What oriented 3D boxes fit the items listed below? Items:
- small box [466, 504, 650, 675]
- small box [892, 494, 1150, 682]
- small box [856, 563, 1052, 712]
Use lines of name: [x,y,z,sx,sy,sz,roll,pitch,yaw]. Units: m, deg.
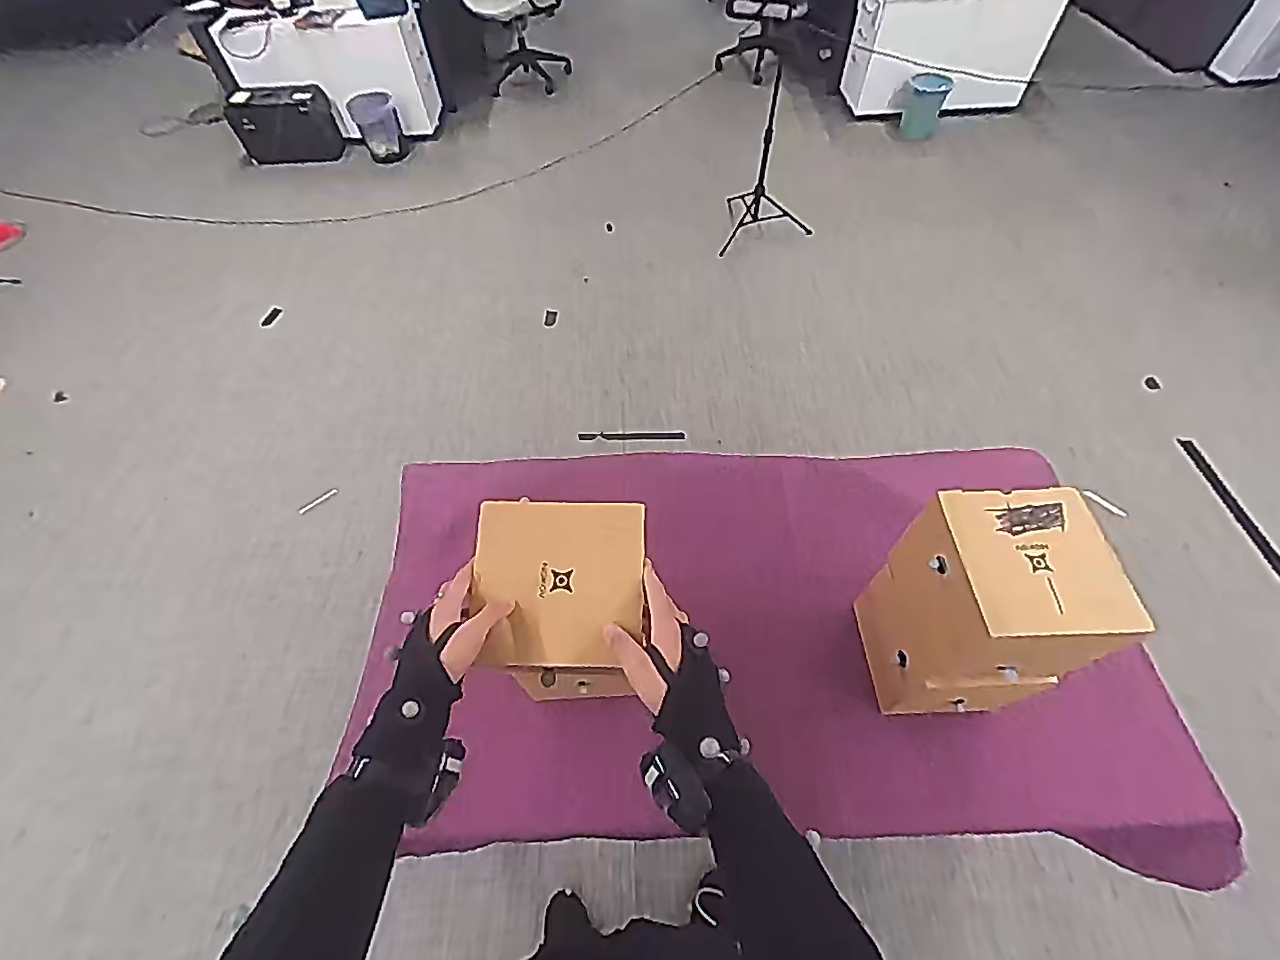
small box: [-0.078,0.133,0.621,0.179,0.176,0.168,1,68,2]
small box: [0.431,0.134,0.654,0.168,0.176,0.179,-2,57,1]
small box: [0.435,0.233,0.785,0.168,0.176,0.179,-1,56,0]
